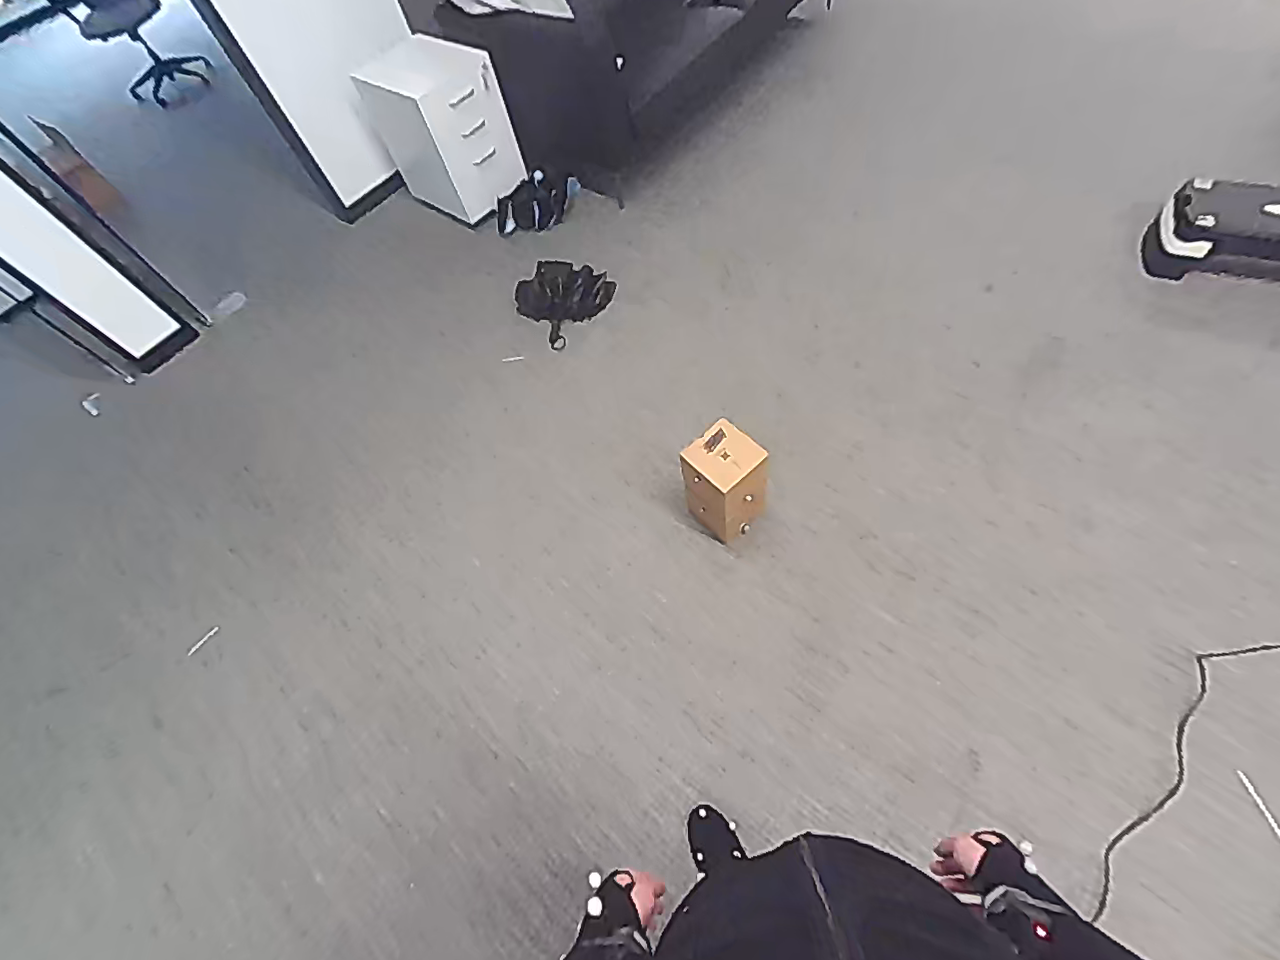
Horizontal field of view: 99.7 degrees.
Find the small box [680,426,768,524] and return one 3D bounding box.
[{"bbox_3d":[0.231,-0.009,1.499,0.168,0.176,0.179,-39,62,-13],"label":"small box"}]

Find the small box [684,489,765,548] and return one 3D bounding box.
[{"bbox_3d":[0.254,0.075,1.639,0.168,0.176,0.179,-40,62,-13],"label":"small box"}]
